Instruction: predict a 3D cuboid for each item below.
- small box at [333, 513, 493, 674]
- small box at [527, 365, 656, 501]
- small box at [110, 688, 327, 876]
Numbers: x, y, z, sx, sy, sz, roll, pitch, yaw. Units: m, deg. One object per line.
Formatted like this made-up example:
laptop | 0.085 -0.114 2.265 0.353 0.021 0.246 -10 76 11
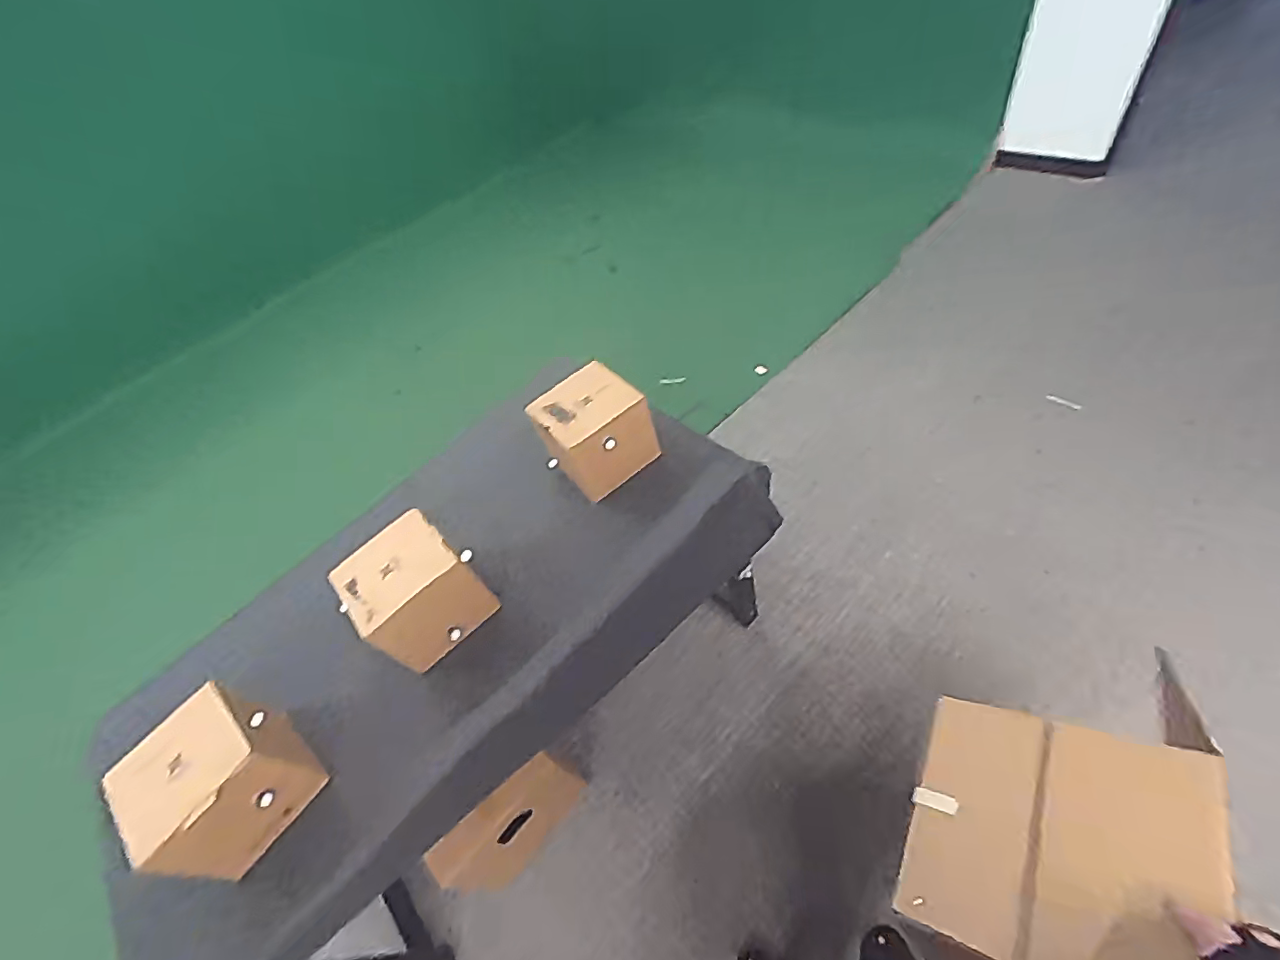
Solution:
small box | -0.379 0.198 0.937 0.179 0.176 0.168 -40 53 -17
small box | -0.089 -0.090 1.078 0.179 0.176 0.168 -37 52 -14
small box | -0.613 0.451 0.805 0.179 0.176 0.168 24 61 33
